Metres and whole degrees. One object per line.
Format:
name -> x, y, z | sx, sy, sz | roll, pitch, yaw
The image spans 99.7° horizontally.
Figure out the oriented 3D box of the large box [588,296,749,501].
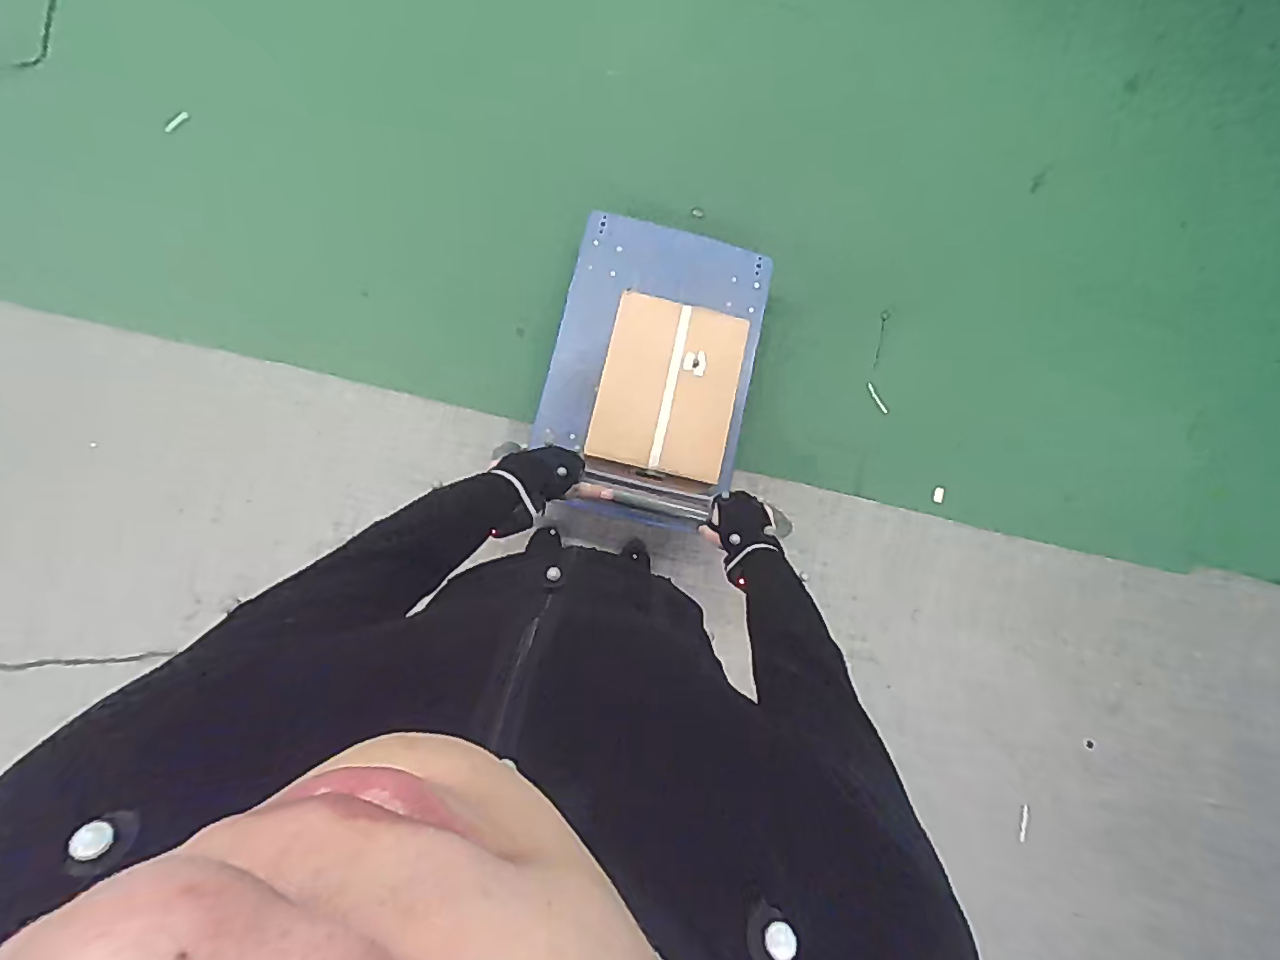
large box -> 0.057, -0.182, 1.373 | 0.320, 0.320, 0.408 | 13, 81, -4
